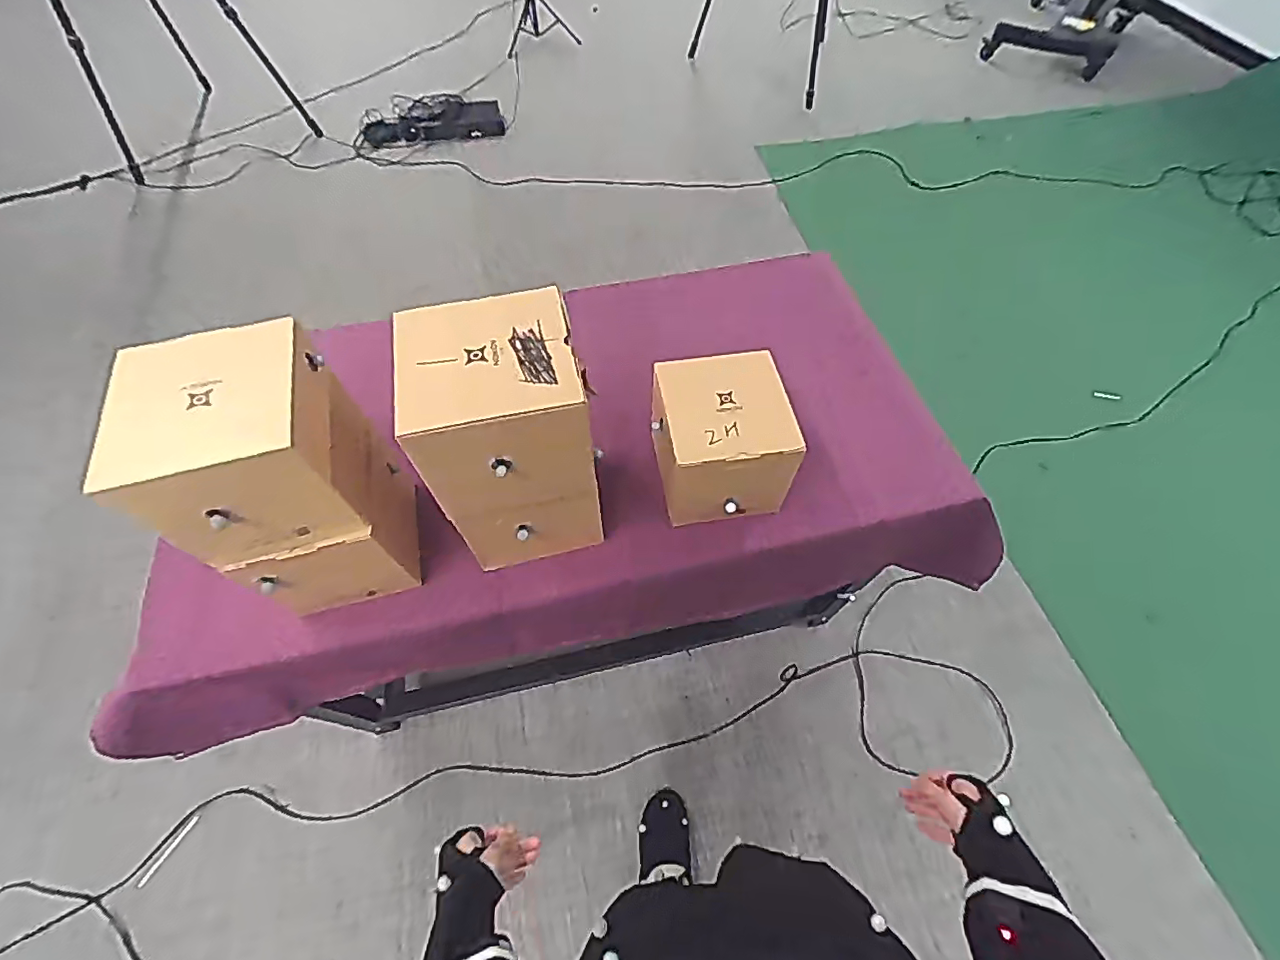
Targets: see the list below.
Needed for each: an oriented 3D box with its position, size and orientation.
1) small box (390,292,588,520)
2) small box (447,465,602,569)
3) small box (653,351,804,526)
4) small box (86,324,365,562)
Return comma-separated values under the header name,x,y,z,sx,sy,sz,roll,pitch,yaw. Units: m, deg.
name,x,y,z,sx,sy,sz,roll,pitch,yaw
small box,-0.156,-0.076,0.598,0.179,0.176,0.168,-12,59,-7
small box,-0.157,0.005,0.742,0.179,0.176,0.168,-13,60,-7
small box,0.112,-0.056,0.775,0.168,0.176,0.179,-8,59,-4
small box,-0.411,-0.029,0.574,0.168,0.176,0.179,-16,59,-9
